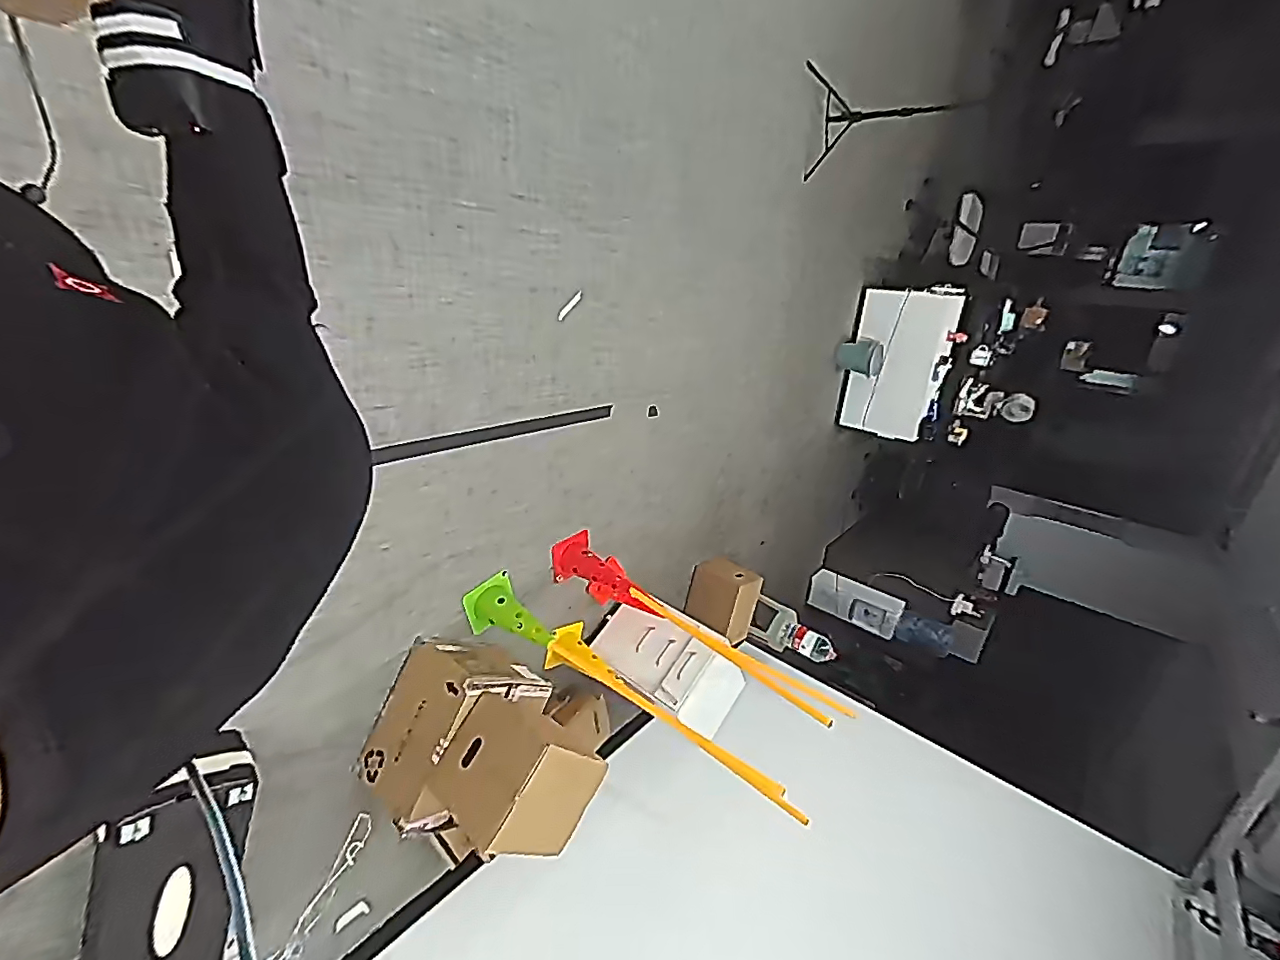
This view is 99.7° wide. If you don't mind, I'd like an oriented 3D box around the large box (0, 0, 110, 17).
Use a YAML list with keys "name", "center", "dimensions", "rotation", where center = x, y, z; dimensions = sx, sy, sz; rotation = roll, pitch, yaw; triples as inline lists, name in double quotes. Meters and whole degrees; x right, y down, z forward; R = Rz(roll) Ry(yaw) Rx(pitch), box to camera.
- name: "large box"
  center: [-0.535, -0.474, 0.228]
  dimensions: [0.408, 0.320, 0.320]
  rotation: [-18, 129, -50]
